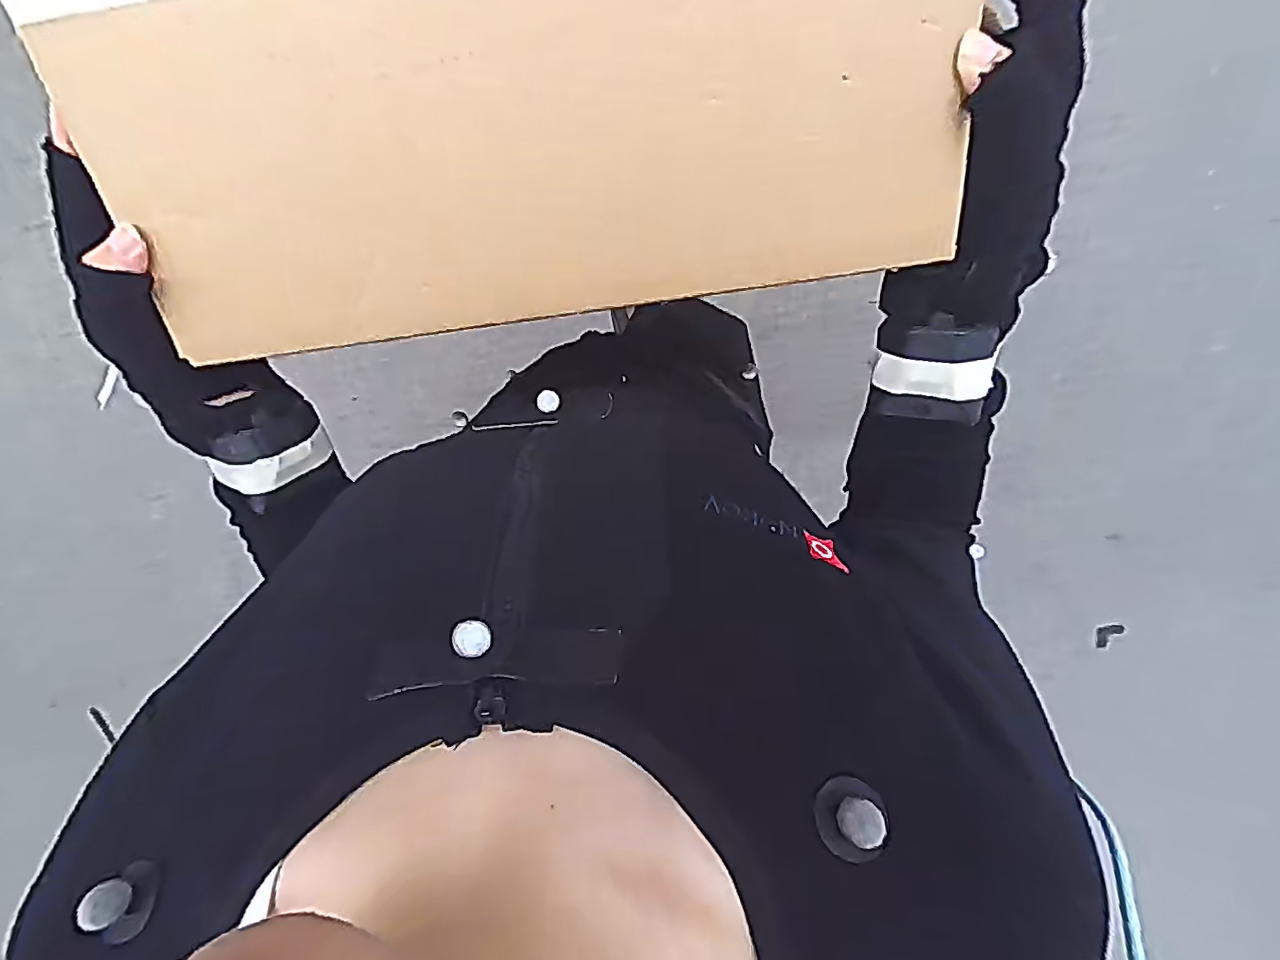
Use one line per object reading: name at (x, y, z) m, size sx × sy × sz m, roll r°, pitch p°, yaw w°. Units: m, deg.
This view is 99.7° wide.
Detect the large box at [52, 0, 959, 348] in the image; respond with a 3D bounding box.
large box at (-0.065, -0.299, 0.361) m, size 0.408 × 0.320 × 0.320 m, roll -7°, pitch 116°, yaw 3°
